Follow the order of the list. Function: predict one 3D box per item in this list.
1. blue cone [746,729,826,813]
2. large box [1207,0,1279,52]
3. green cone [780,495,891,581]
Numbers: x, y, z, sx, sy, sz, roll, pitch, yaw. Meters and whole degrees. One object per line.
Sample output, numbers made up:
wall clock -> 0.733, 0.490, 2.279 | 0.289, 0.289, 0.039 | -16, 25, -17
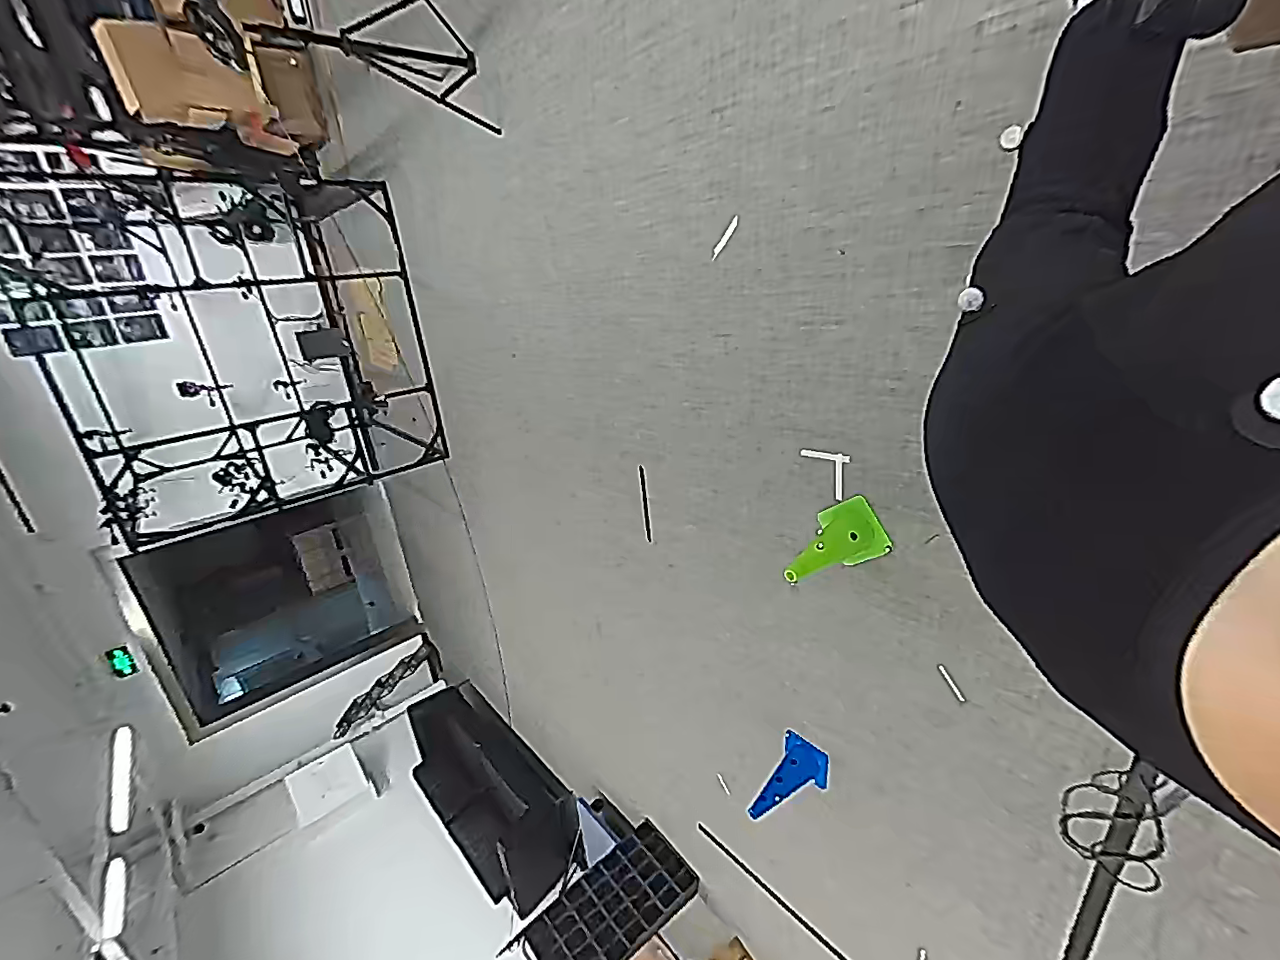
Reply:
blue cone -> 0.569, 1.213, 2.178 | 0.192, 0.380, 0.193 | 23, 125, 46
large box -> 0.577, -0.463, 0.240 | 0.408, 0.320, 0.320 | 19, 123, 44
green cone -> 0.558, 0.212, 1.649 | 0.200, 0.368, 0.202 | 62, 145, 9
